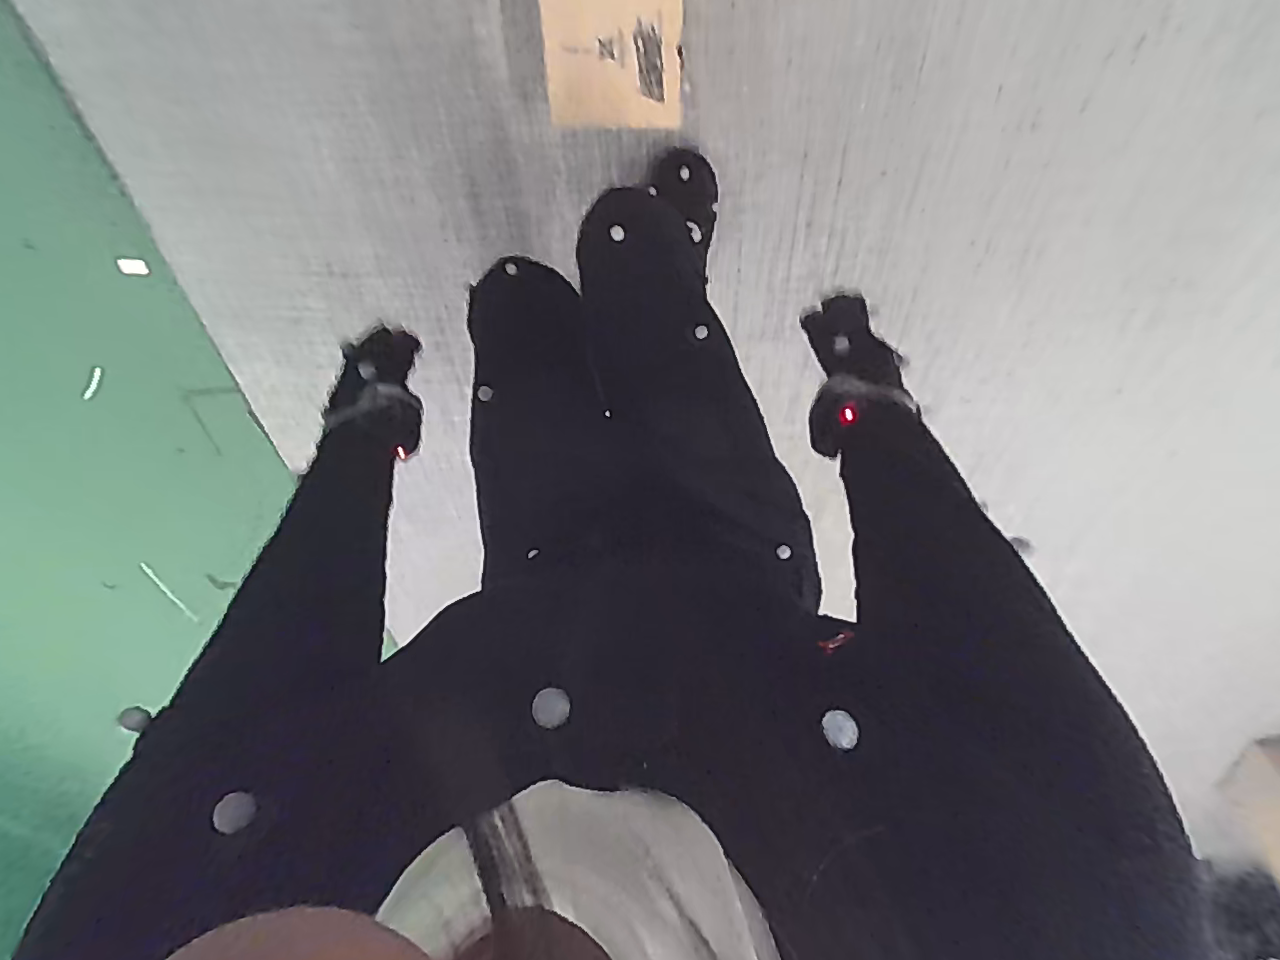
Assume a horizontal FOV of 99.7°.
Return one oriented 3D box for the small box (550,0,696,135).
[{"bbox_3d":[-0.020,-0.585,0.738,0.179,0.176,0.168,5,130,1],"label":"small box"}]
